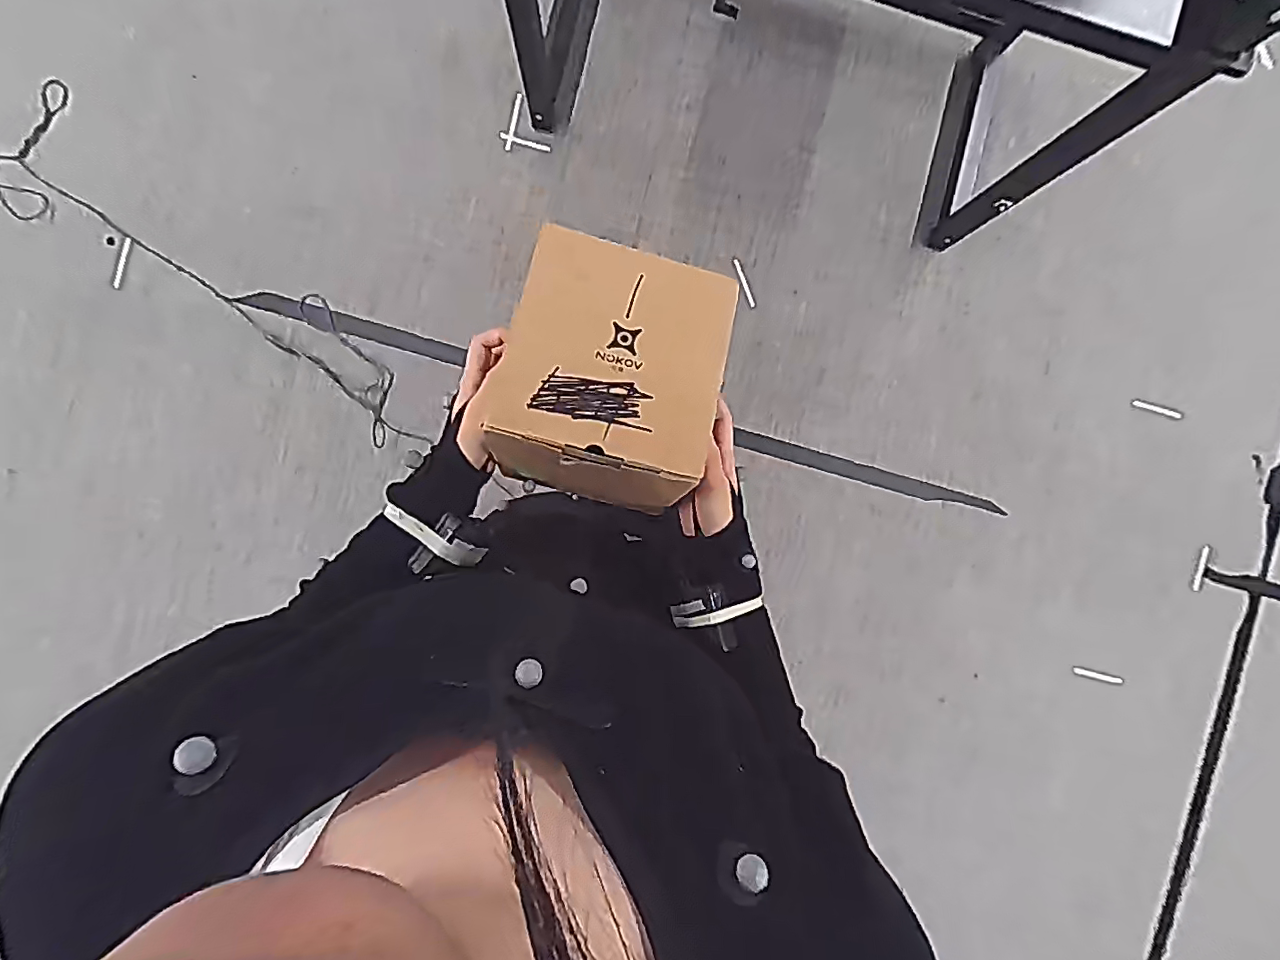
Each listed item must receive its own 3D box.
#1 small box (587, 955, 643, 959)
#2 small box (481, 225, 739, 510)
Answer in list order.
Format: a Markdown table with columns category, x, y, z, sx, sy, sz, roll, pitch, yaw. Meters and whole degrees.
| category | x | y | z | sx | sy | sz | roll | pitch | yaw |
| --- | --- | --- | --- | --- | --- | --- | --- | --- | --- |
| small box | -0.069 | 1.435 | 1.460 | 0.179 | 0.176 | 0.168 | 3 | 91 | -5 |
| small box | -0.028 | -0.082 | 0.486 | 0.168 | 0.176 | 0.179 | 14 | 75 | -6 |
